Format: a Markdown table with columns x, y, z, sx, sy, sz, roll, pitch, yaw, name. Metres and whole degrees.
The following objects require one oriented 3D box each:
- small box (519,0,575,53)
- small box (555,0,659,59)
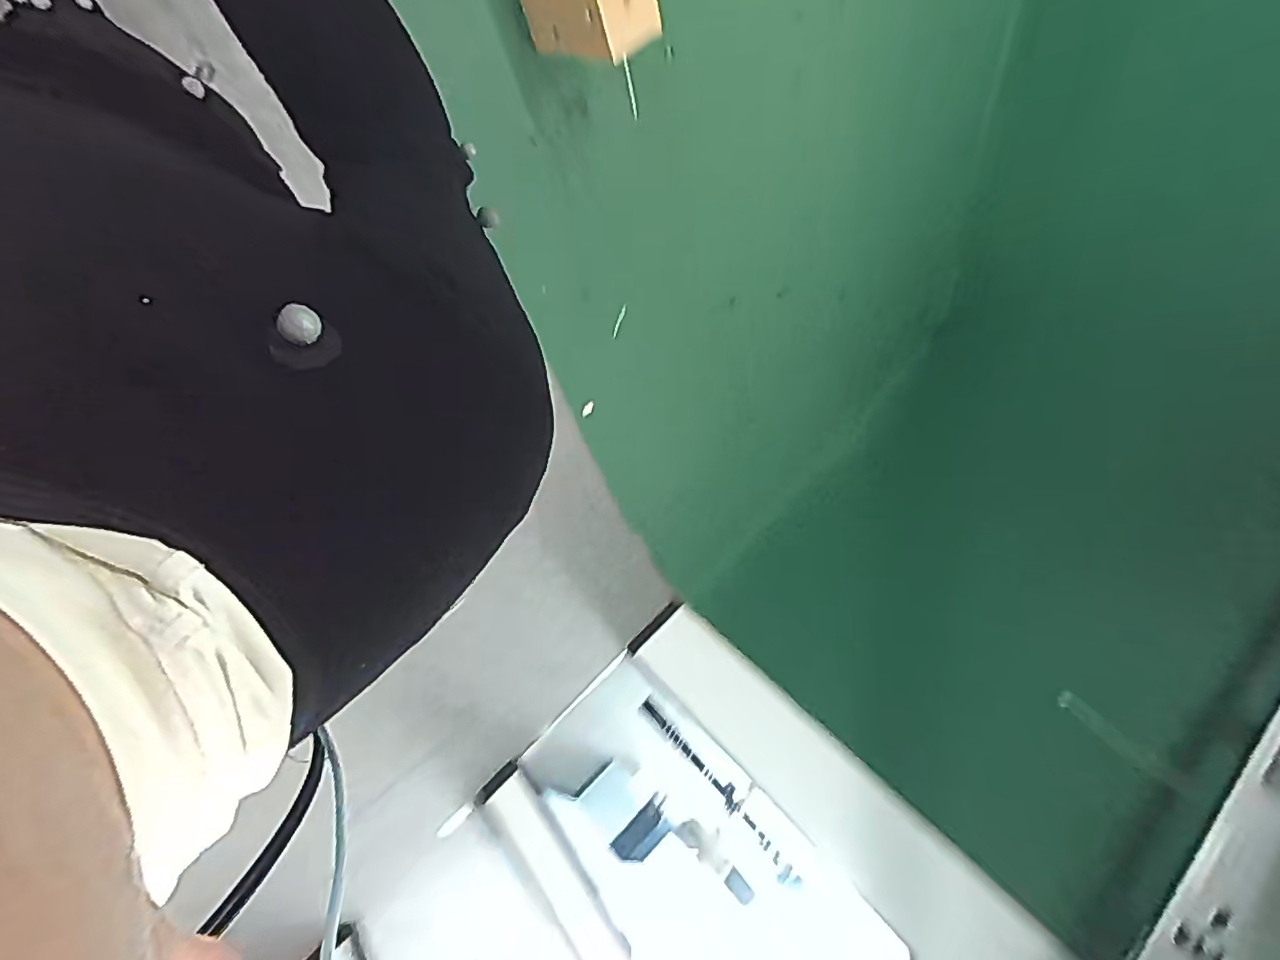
| x | y | z | sx | sy | sz | roll | pitch | yaw | name |
| --- | --- | --- | --- | --- | --- | --- | --- | --- | --- |
| -0.194 | -1.221 | 1.368 | 0.168 | 0.176 | 0.179 | -41 | 142 | -15 | small box |
| -0.087 | -1.138 | 1.277 | 0.168 | 0.176 | 0.179 | -43 | 142 | -12 | small box |
